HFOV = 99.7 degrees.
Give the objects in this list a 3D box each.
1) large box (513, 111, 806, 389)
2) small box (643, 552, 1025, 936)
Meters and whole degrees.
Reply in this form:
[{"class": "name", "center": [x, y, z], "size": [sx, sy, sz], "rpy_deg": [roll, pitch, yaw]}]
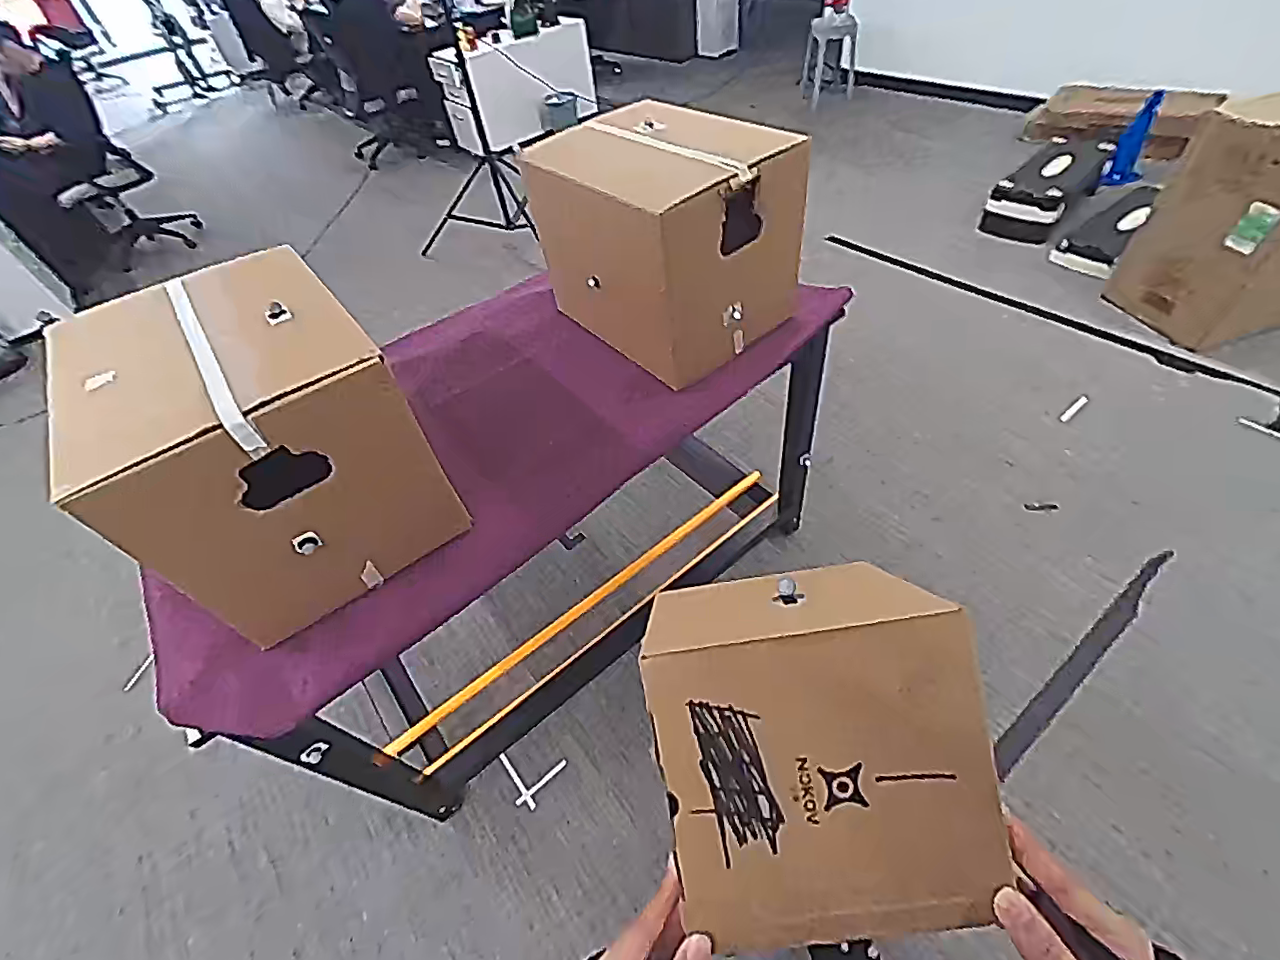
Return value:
[{"class": "large box", "center": [0.039, -0.432, 0.994], "size": [0.320, 0.320, 0.408], "rpy_deg": [-35, 52, -20]}, {"class": "small box", "center": [0.106, 0.150, 0.365], "size": [0.179, 0.176, 0.168], "rpy_deg": [-10, 90, 4]}]
